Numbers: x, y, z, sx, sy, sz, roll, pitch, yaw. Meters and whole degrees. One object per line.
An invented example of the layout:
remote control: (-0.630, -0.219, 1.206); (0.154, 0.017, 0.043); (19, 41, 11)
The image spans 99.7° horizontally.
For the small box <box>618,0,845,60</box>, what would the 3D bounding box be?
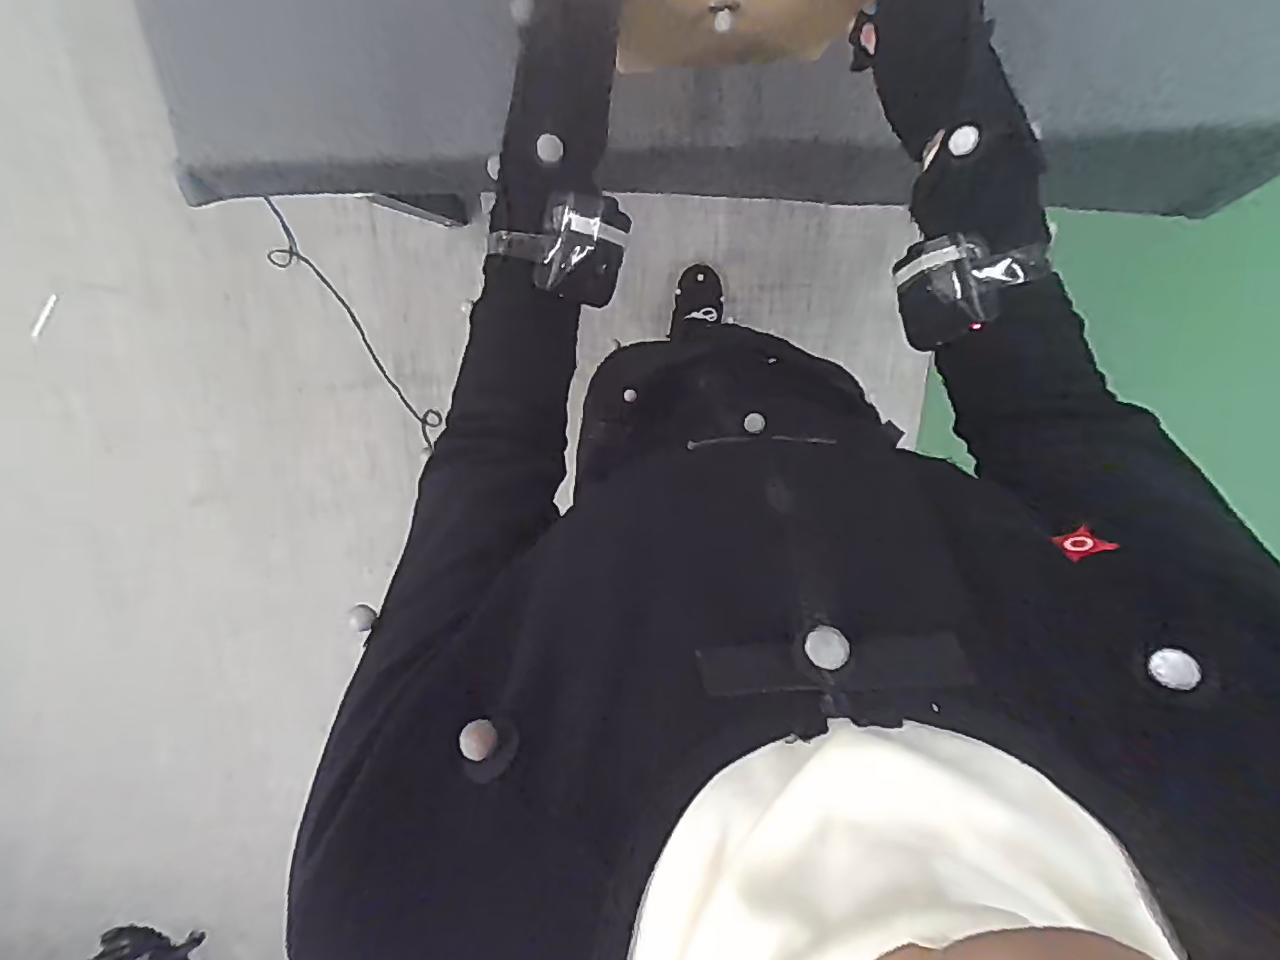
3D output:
small box: (0.066, -0.417, 0.371); (0.179, 0.176, 0.168); (-3, 112, 2)
